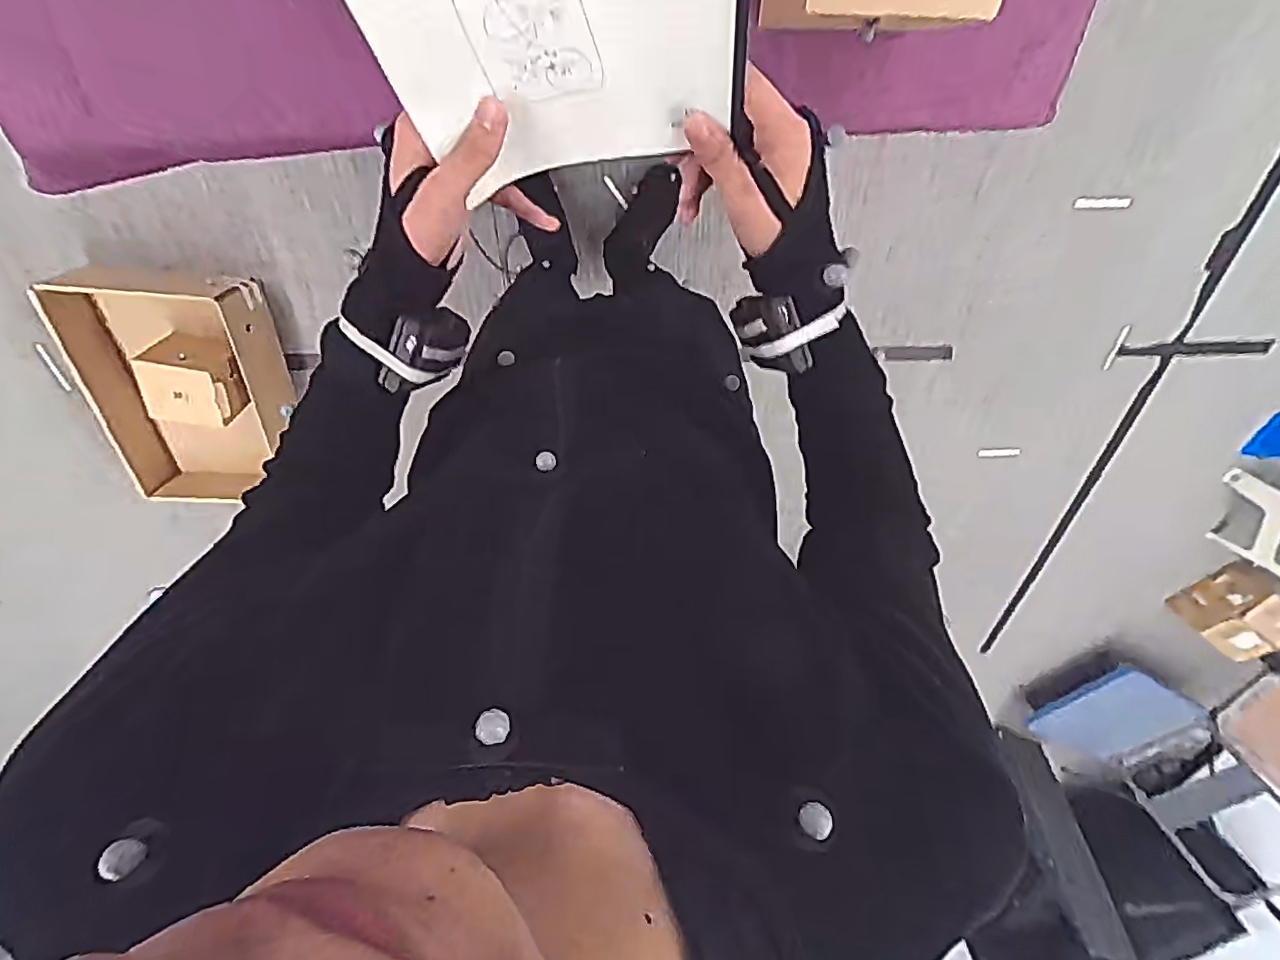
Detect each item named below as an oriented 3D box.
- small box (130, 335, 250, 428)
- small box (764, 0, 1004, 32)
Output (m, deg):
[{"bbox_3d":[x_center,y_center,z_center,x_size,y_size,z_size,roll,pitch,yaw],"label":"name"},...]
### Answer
[{"bbox_3d":[-1.148,-0.259,1.404,0.179,0.176,0.168,9,126,-12],"label":"small box"},{"bbox_3d":[0.221,-0.510,0.478,0.179,0.176,0.168,-1,127,-4],"label":"small box"}]
